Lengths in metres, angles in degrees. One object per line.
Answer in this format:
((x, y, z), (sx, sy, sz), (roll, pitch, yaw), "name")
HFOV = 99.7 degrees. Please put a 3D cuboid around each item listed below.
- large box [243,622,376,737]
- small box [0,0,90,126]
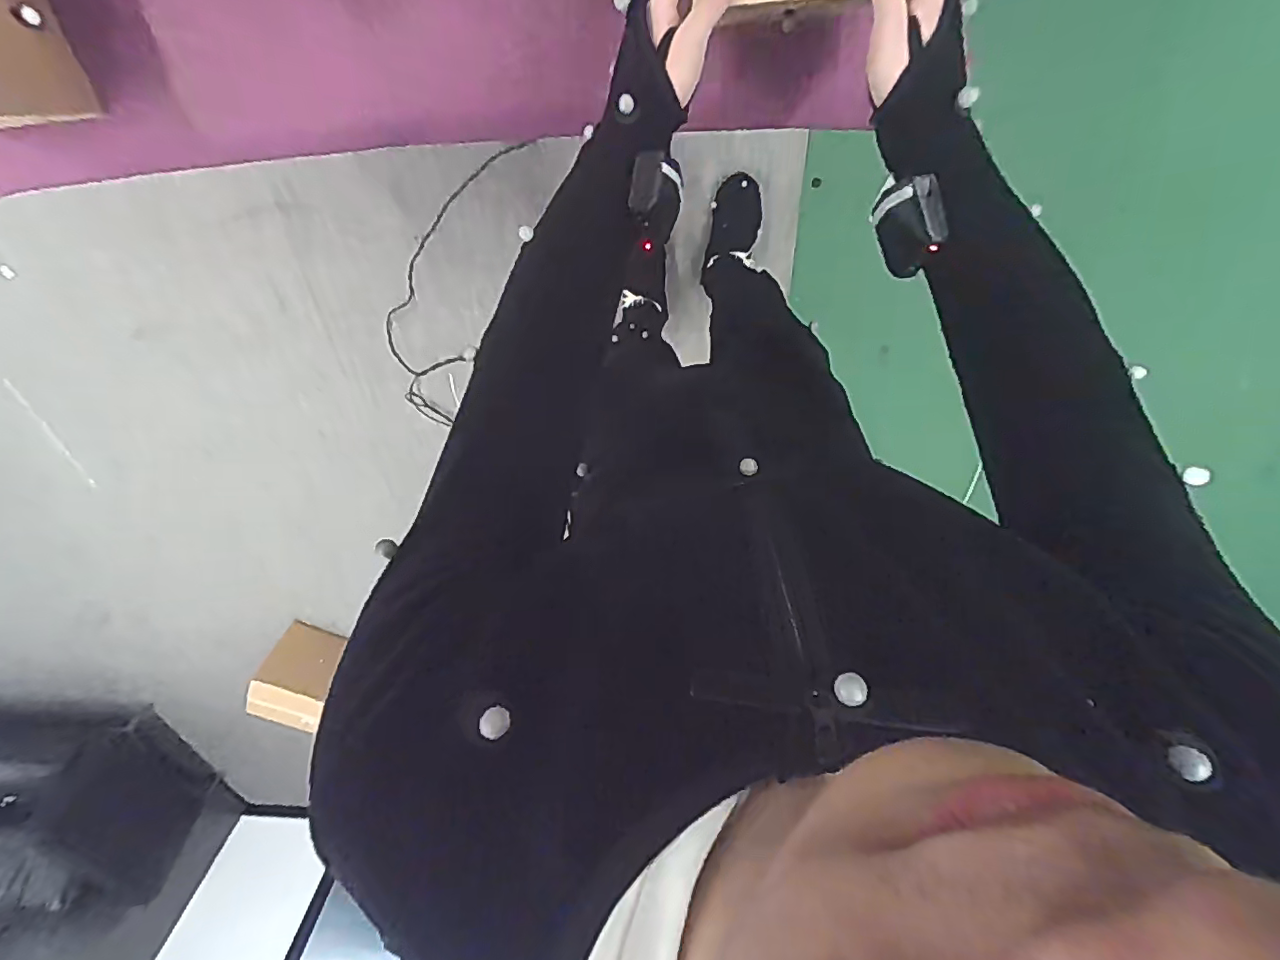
((-1.499, 0.907, 2.467), (0.408, 0.320, 0.320), (25, 126, -15), "large box")
((-0.740, -0.460, 0.539), (0.168, 0.176, 0.179), (-1, 125, 6), "small box")
